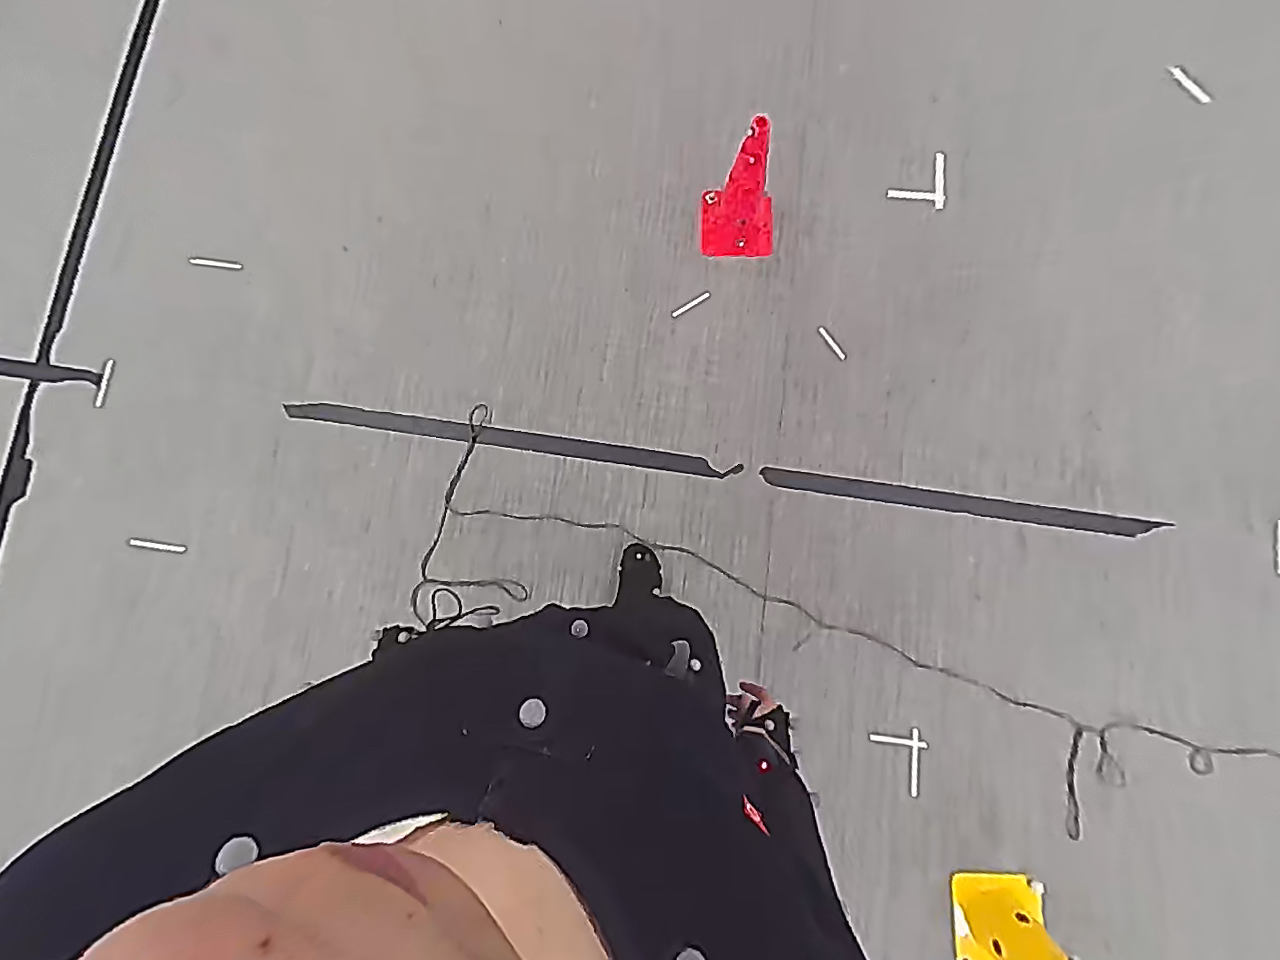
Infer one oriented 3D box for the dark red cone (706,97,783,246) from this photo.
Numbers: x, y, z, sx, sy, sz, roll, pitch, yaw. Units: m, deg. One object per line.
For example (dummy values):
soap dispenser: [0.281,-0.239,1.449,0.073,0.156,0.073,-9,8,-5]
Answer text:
dark red cone: [0.273,-0.748,1.300,0.202,0.394,0.201,0,83,1]
